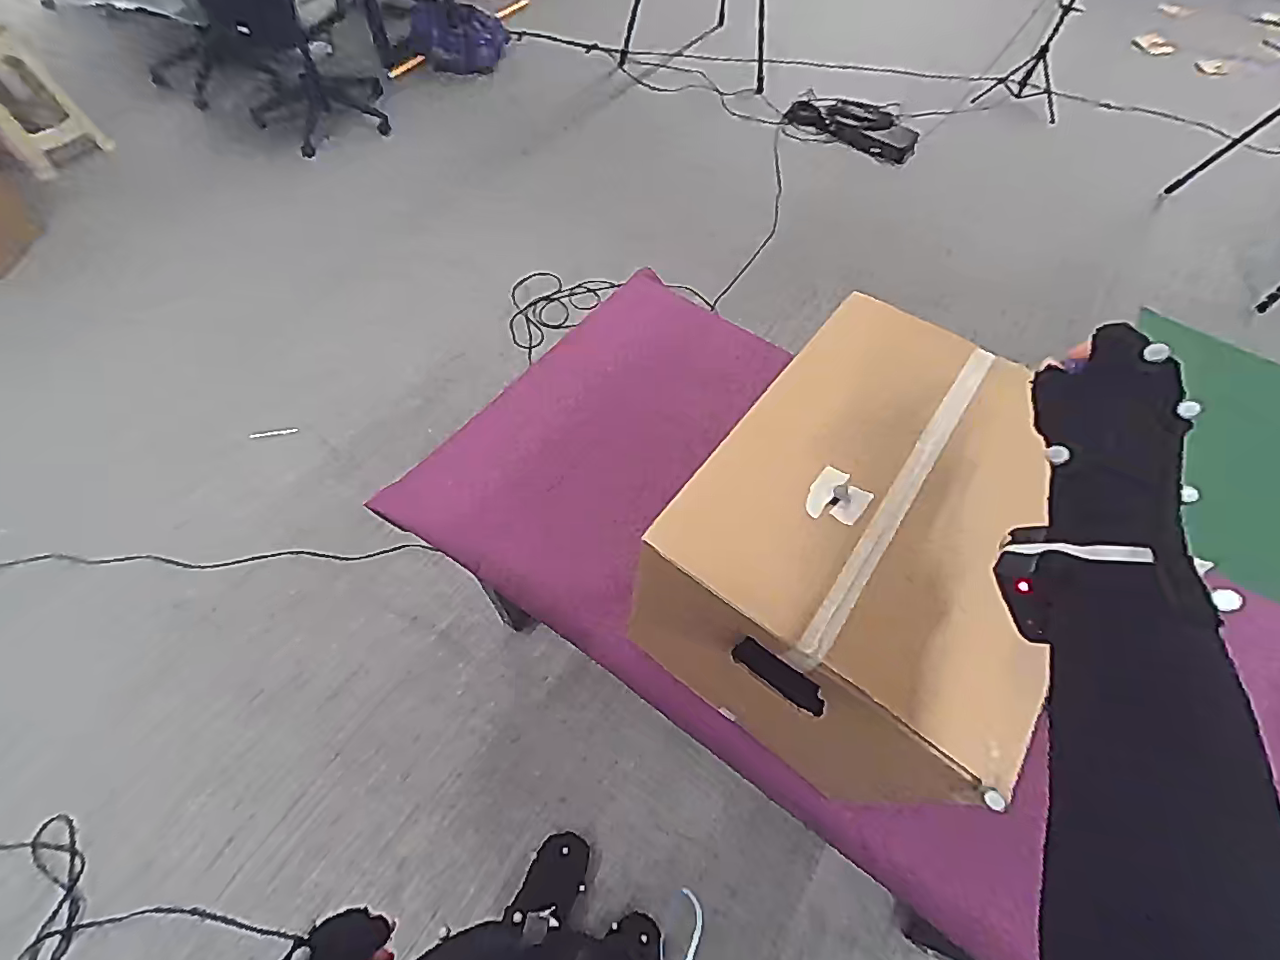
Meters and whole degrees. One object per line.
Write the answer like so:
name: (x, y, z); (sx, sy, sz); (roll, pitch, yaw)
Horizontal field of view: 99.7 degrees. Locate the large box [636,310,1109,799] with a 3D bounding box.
large box: (0.237, 0.087, 0.639); (0.320, 0.320, 0.408); (35, 64, 17)
